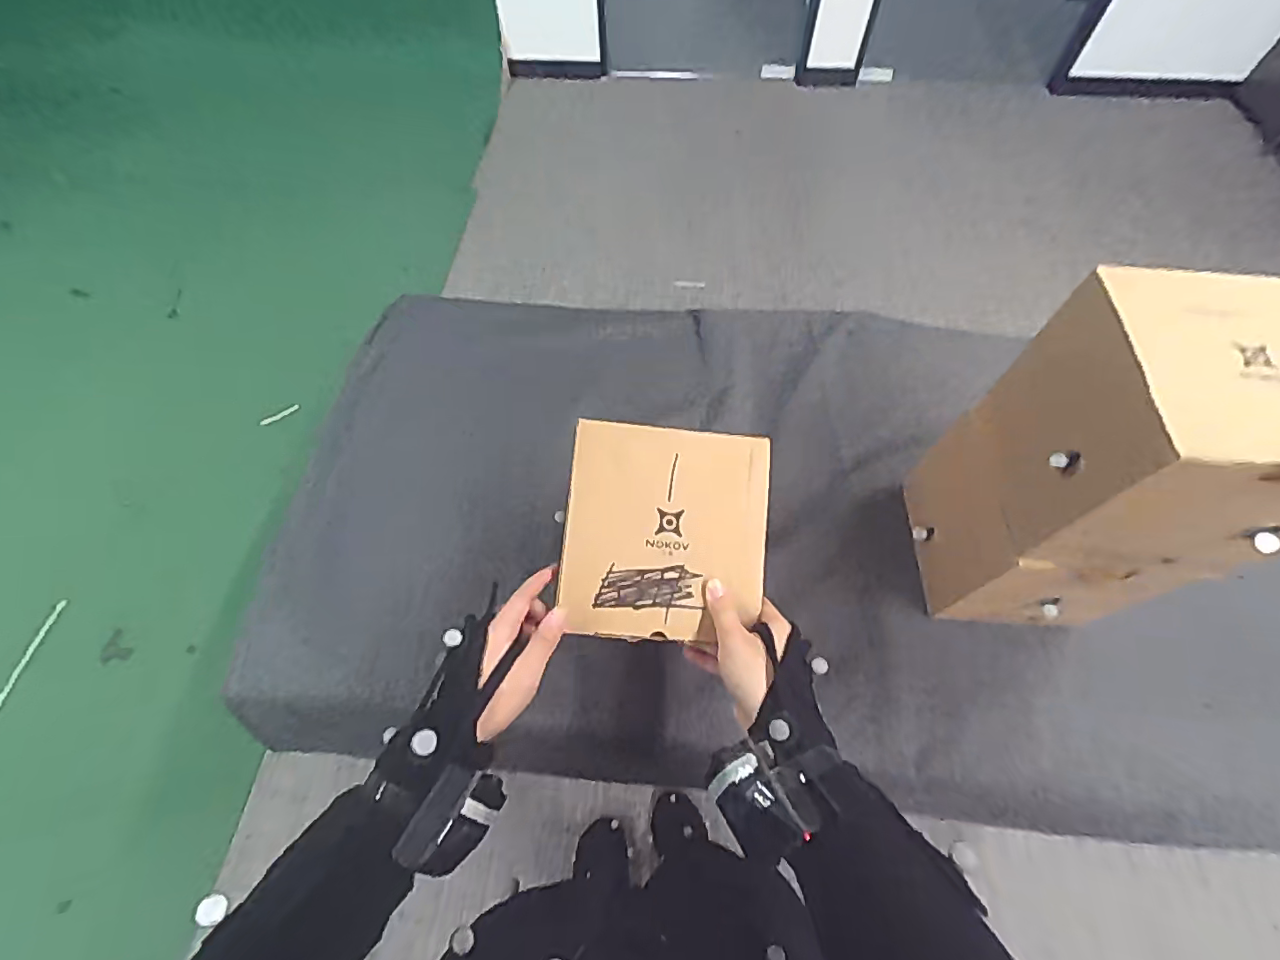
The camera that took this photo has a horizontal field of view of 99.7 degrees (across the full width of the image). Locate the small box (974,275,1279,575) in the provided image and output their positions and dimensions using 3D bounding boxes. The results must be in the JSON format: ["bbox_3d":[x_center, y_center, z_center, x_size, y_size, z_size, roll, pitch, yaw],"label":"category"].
[{"bbox_3d":[0.409,-0.036,0.439,0.168,0.176,0.179,5,59,3],"label":"small box"}]

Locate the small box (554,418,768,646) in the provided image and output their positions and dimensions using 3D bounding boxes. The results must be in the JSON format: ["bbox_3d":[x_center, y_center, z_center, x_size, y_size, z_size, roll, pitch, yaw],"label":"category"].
[{"bbox_3d":[0.015,0.054,0.527,0.168,0.176,0.179,6,80,-4],"label":"small box"}]

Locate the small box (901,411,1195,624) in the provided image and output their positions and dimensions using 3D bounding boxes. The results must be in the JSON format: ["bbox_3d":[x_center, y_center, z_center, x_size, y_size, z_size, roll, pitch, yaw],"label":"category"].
[{"bbox_3d":[0.406,0.047,0.579,0.168,0.176,0.179,3,60,2],"label":"small box"}]
